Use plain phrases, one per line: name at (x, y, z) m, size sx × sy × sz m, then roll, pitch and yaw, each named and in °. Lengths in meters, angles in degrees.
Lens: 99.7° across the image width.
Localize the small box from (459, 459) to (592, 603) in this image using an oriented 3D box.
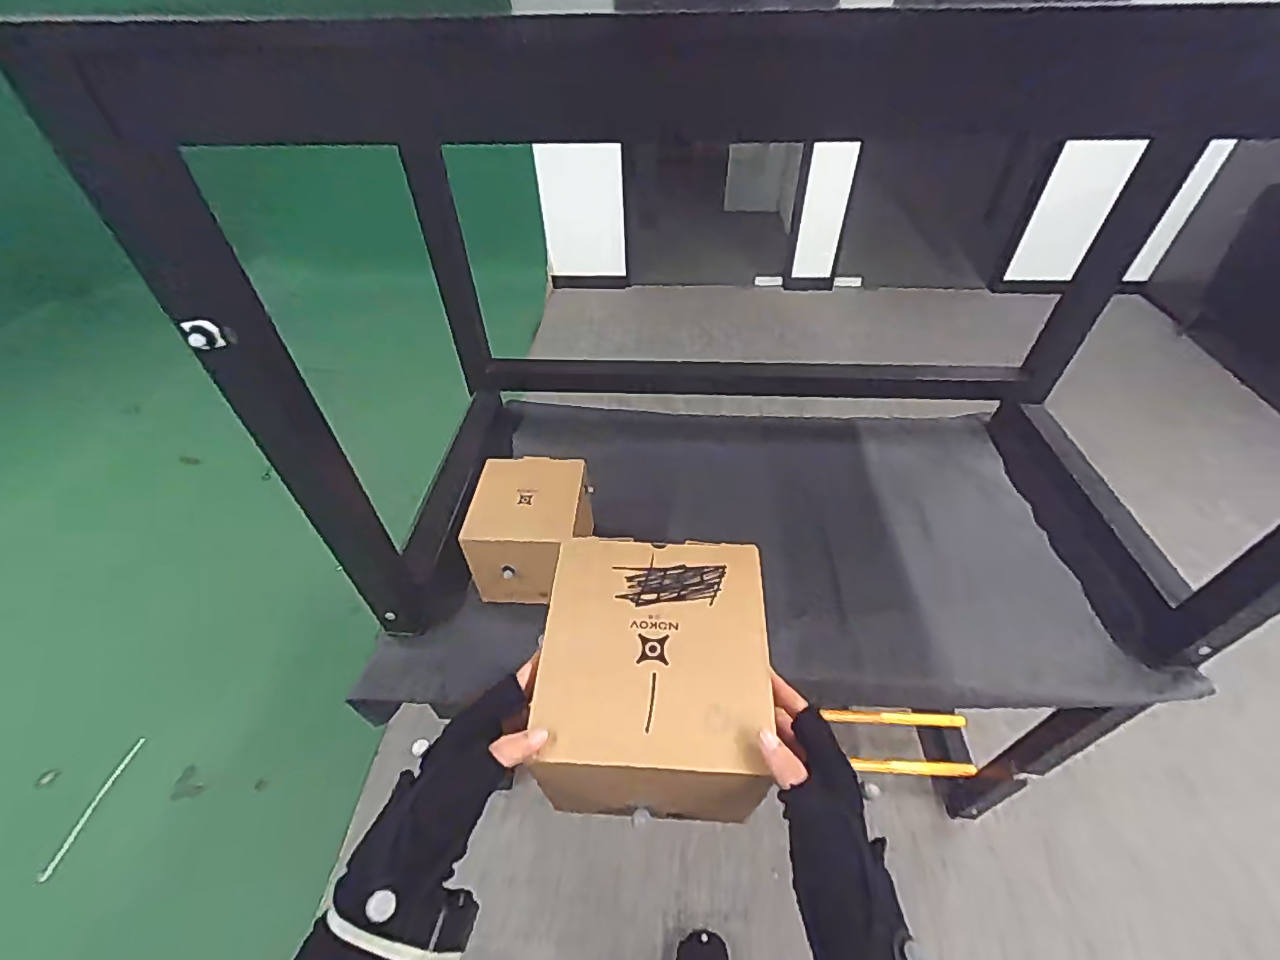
small box at (-0.172, 0.084, 0.880) m, size 0.168 × 0.176 × 0.179 m, roll 1°, pitch 44°, yaw 2°
